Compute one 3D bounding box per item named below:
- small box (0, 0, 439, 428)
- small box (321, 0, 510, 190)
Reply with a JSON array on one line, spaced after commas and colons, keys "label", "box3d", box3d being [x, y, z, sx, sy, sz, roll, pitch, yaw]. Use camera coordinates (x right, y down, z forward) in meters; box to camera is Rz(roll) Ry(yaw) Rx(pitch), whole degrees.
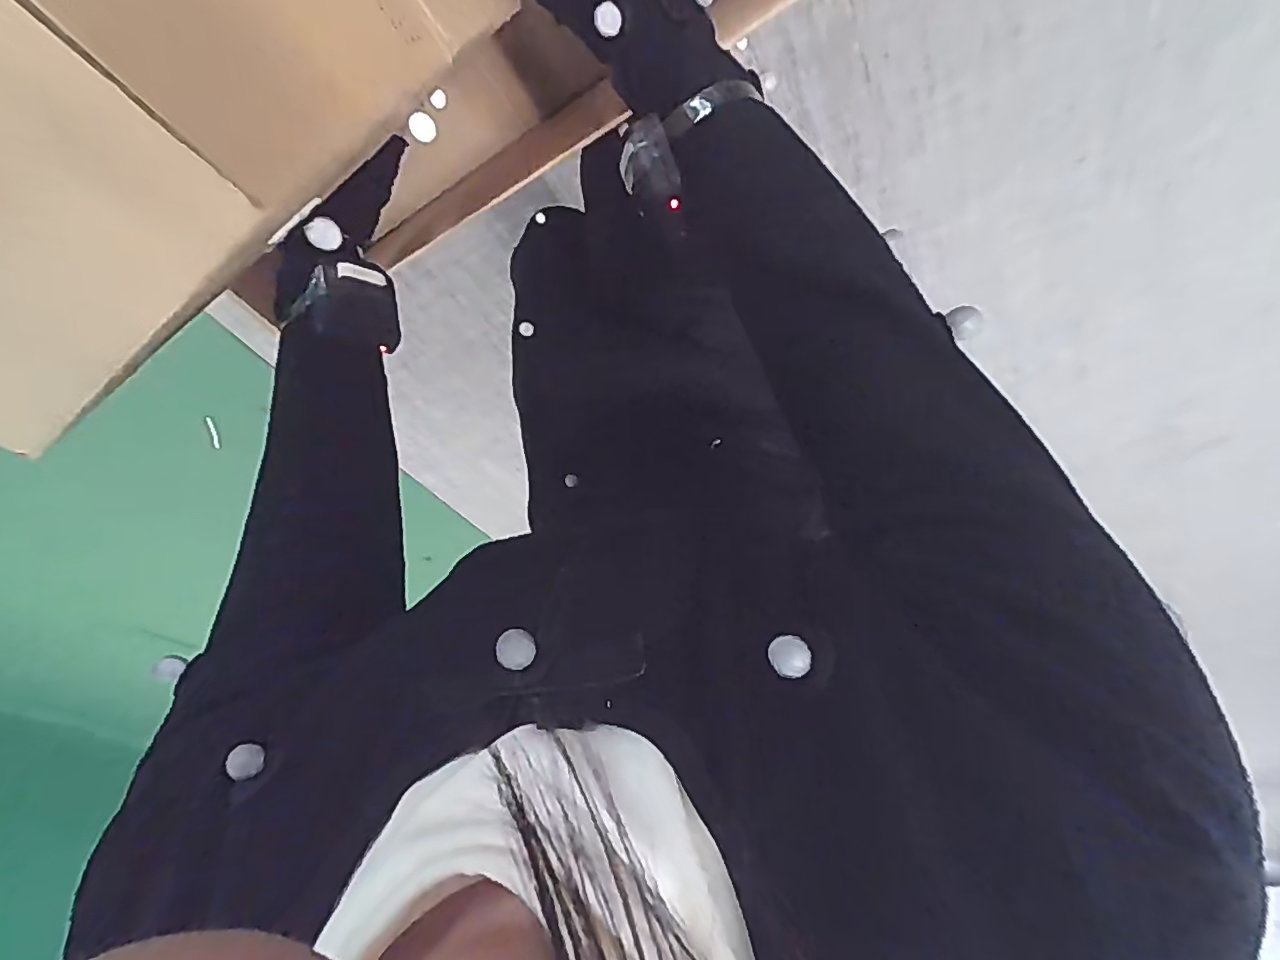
[{"label": "small box", "box3d": [-0.201, -0.155, 0.171, 0.168, 0.176, 0.179, -23, 133, 27]}, {"label": "small box", "box3d": [-0.195, -0.275, 0.279, 0.168, 0.176, 0.179, -23, 132, 26]}]
